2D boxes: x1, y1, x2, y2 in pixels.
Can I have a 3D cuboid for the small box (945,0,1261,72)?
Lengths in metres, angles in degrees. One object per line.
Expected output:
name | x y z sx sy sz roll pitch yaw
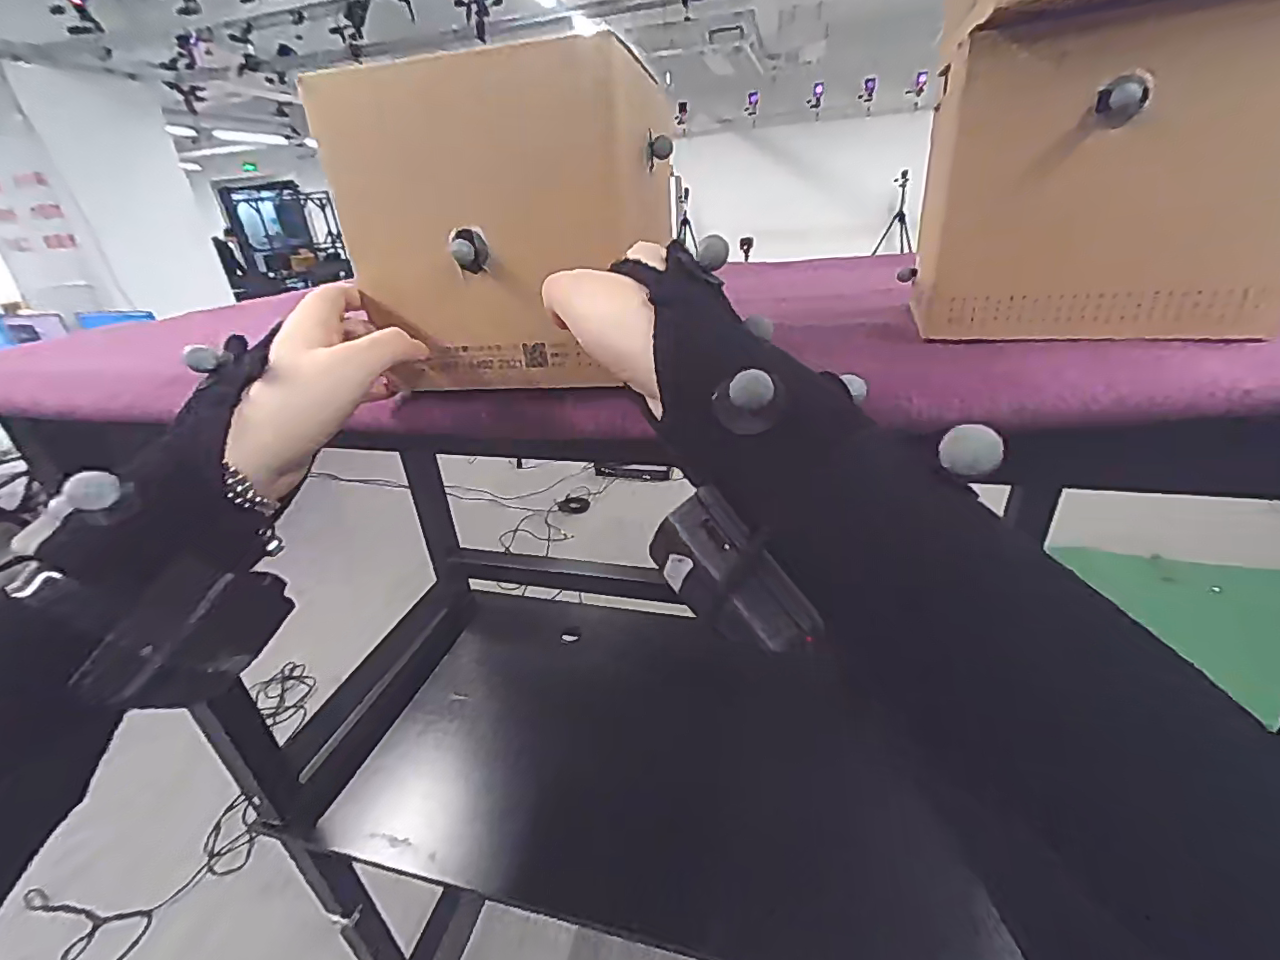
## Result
small box | 0.274 -0.325 0.280 0.179 0.176 0.168 4 27 17

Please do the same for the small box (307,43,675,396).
small box | -0.068 -0.160 0.365 0.168 0.176 0.179 1 28 11

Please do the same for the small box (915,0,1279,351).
small box | 0.291 -0.186 0.363 0.179 0.176 0.168 6 28 20
